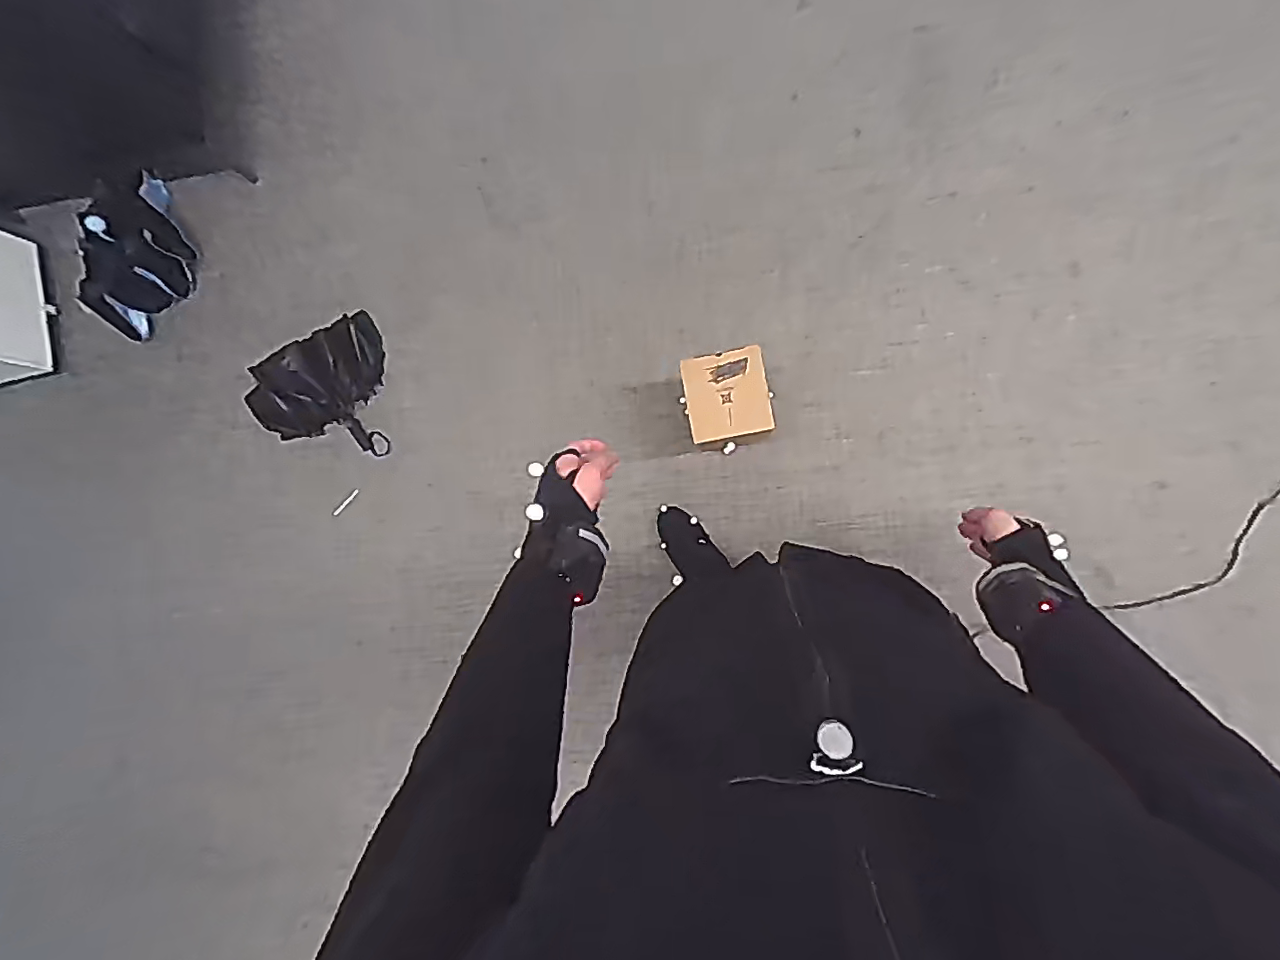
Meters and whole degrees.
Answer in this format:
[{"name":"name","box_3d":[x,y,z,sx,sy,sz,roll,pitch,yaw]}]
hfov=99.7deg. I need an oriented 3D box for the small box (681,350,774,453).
[{"name":"small box","box_3d":[0.185,-0.160,1.164,0.168,0.176,0.179,-10,88,8]}]
